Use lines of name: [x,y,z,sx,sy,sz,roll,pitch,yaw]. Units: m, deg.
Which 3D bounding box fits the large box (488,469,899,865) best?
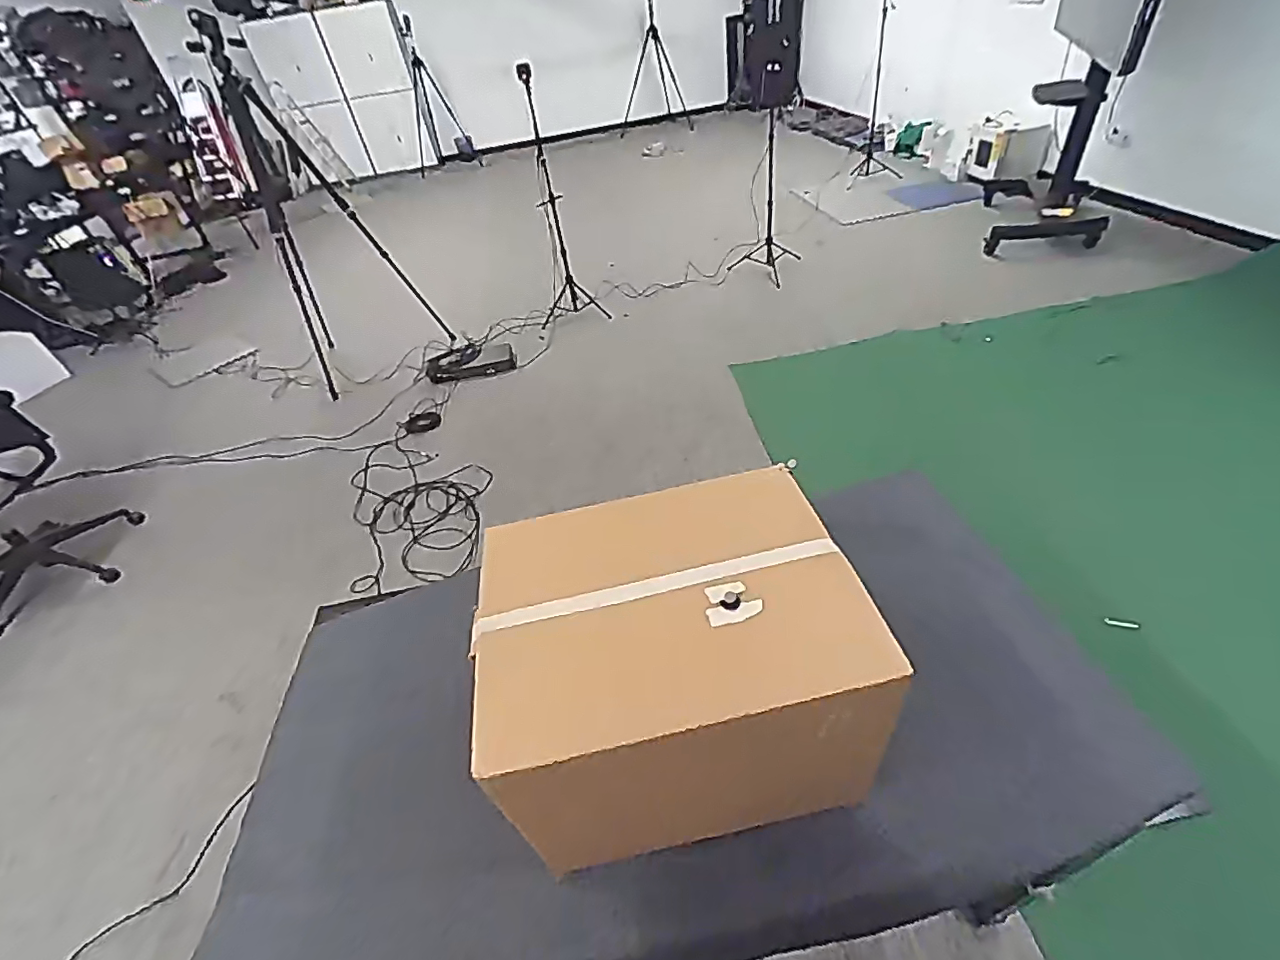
large box: [0.045,0.235,0.704,0.408,0.320,0.320,-12,42,-3]
